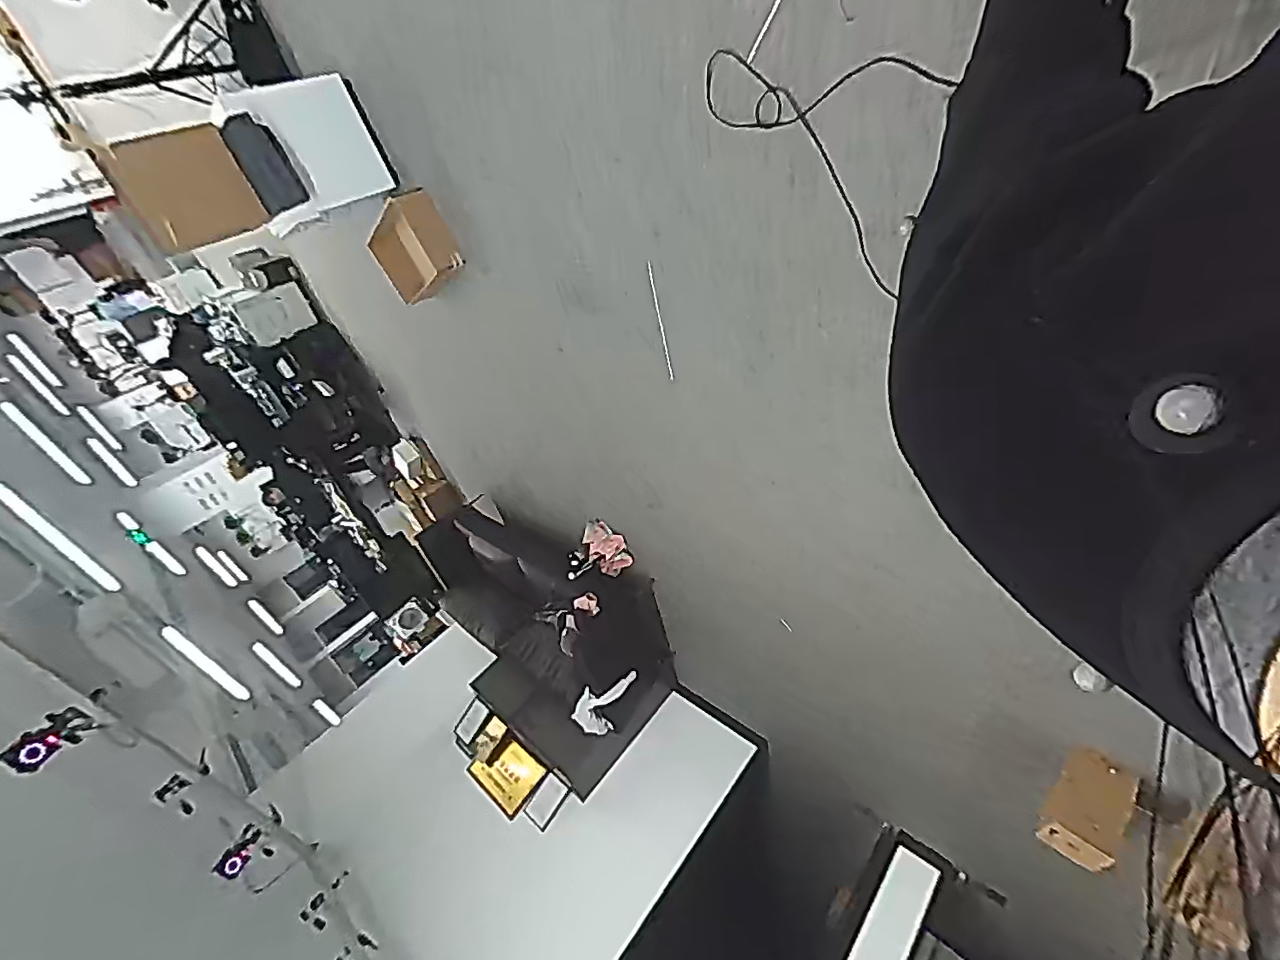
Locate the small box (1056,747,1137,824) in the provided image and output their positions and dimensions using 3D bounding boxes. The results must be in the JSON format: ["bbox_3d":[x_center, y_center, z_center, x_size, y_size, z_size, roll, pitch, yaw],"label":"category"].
[{"bbox_3d":[1.599,1.085,1.898,0.168,0.176,0.179,27,142,31],"label":"small box"}]

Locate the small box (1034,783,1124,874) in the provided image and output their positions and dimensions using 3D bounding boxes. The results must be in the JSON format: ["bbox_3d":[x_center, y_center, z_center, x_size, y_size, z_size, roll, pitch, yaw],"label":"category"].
[{"bbox_3d":[1.480,1.168,1.820,0.179,0.176,0.168,27,142,31],"label":"small box"}]
